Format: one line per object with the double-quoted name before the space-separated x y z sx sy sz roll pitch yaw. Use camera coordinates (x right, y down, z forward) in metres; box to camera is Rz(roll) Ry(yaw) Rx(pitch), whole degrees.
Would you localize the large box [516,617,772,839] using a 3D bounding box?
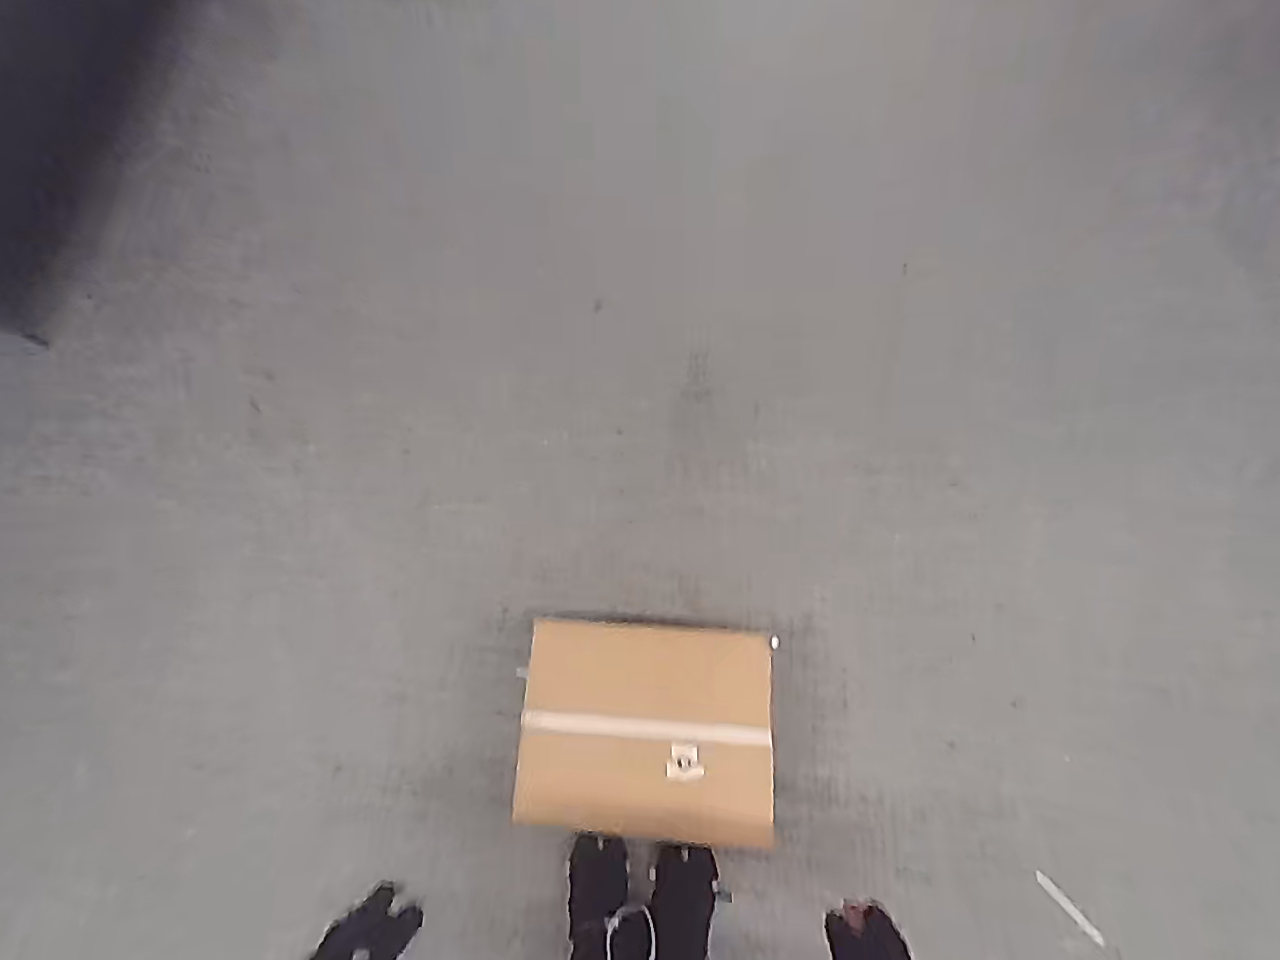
"large box" 0.018 0.438 1.015 0.408 0.320 0.320 2 72 5
